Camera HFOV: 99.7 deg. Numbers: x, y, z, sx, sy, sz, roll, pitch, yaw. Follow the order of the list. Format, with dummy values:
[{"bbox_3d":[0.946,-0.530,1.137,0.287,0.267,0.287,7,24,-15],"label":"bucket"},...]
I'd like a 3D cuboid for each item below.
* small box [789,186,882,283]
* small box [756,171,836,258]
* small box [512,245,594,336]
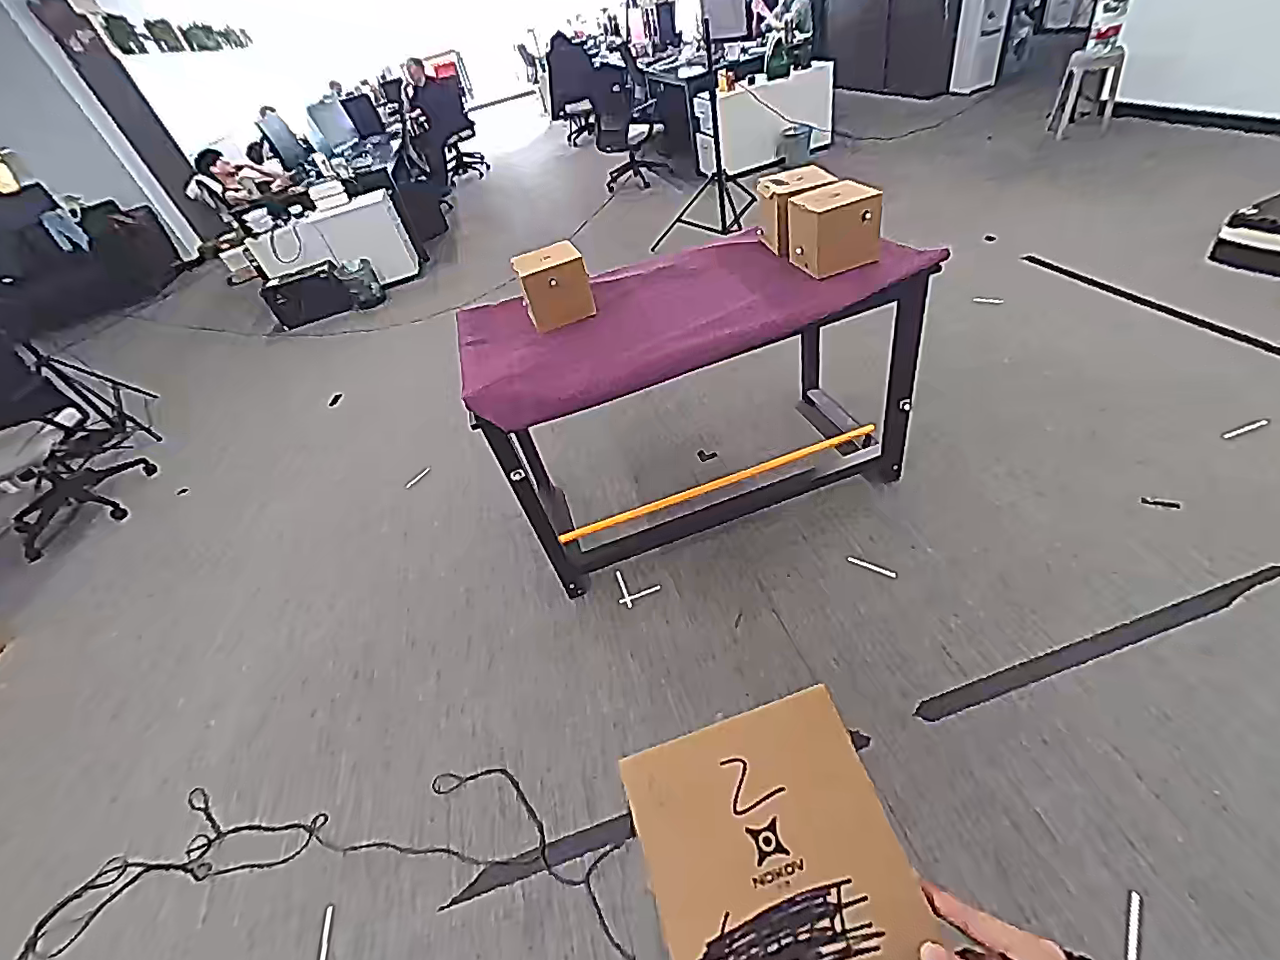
[{"bbox_3d":[0.505,-0.644,1.418,0.179,0.176,0.168,-19,40,-2],"label":"small box"},{"bbox_3d":[0.450,-0.767,1.567,0.179,0.176,0.168,-15,43,0],"label":"small box"},{"bbox_3d":[-0.240,-0.536,1.528,0.179,0.176,0.168,-22,42,-7],"label":"small box"}]
